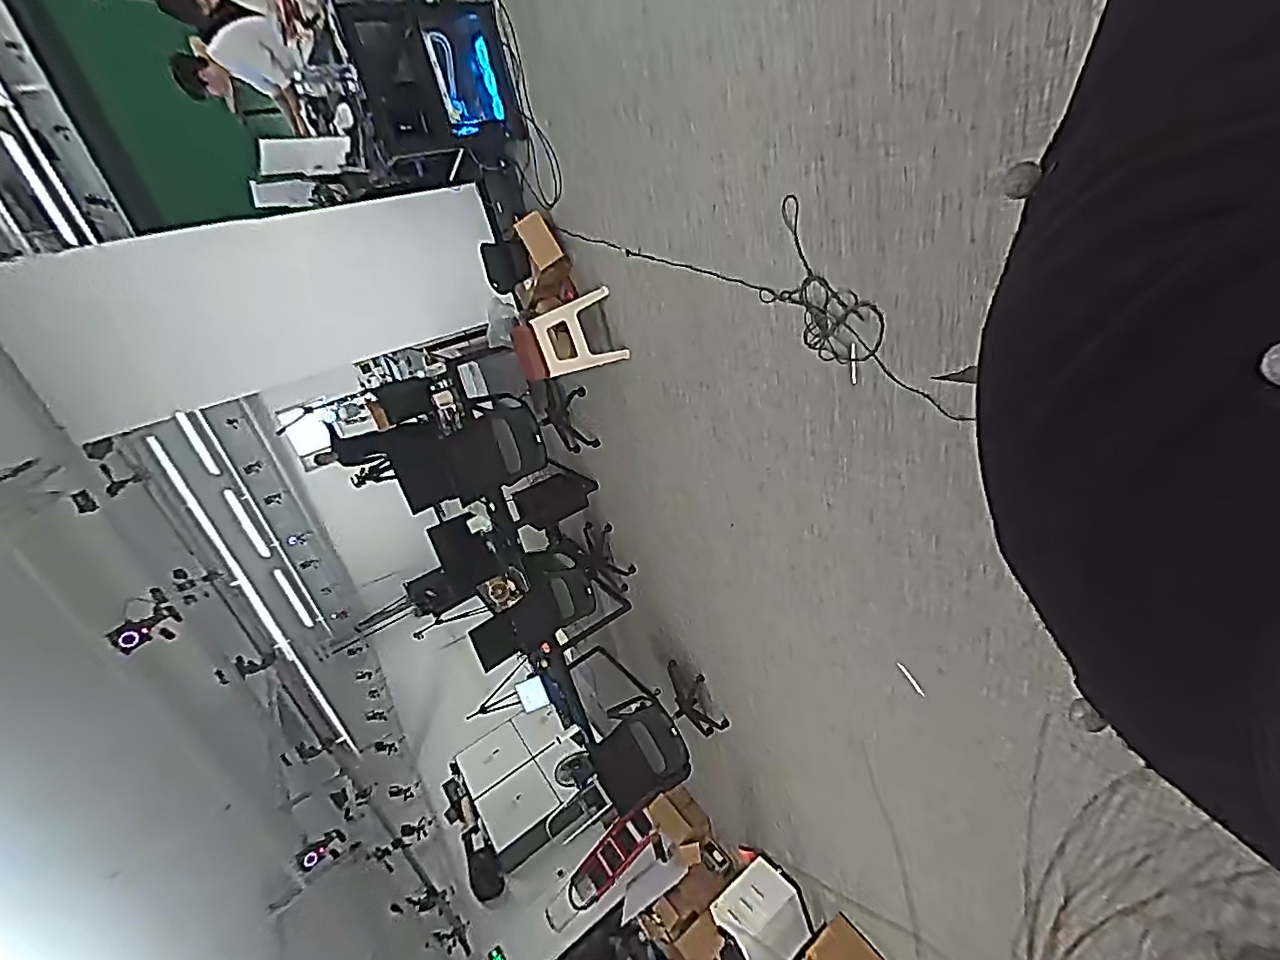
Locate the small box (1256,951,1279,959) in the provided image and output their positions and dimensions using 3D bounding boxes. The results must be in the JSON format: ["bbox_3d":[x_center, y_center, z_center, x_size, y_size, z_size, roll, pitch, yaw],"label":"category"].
[{"bbox_3d":[1.736,1.423,1.440,0.168,0.176,0.179,27,137,51],"label":"small box"}]
